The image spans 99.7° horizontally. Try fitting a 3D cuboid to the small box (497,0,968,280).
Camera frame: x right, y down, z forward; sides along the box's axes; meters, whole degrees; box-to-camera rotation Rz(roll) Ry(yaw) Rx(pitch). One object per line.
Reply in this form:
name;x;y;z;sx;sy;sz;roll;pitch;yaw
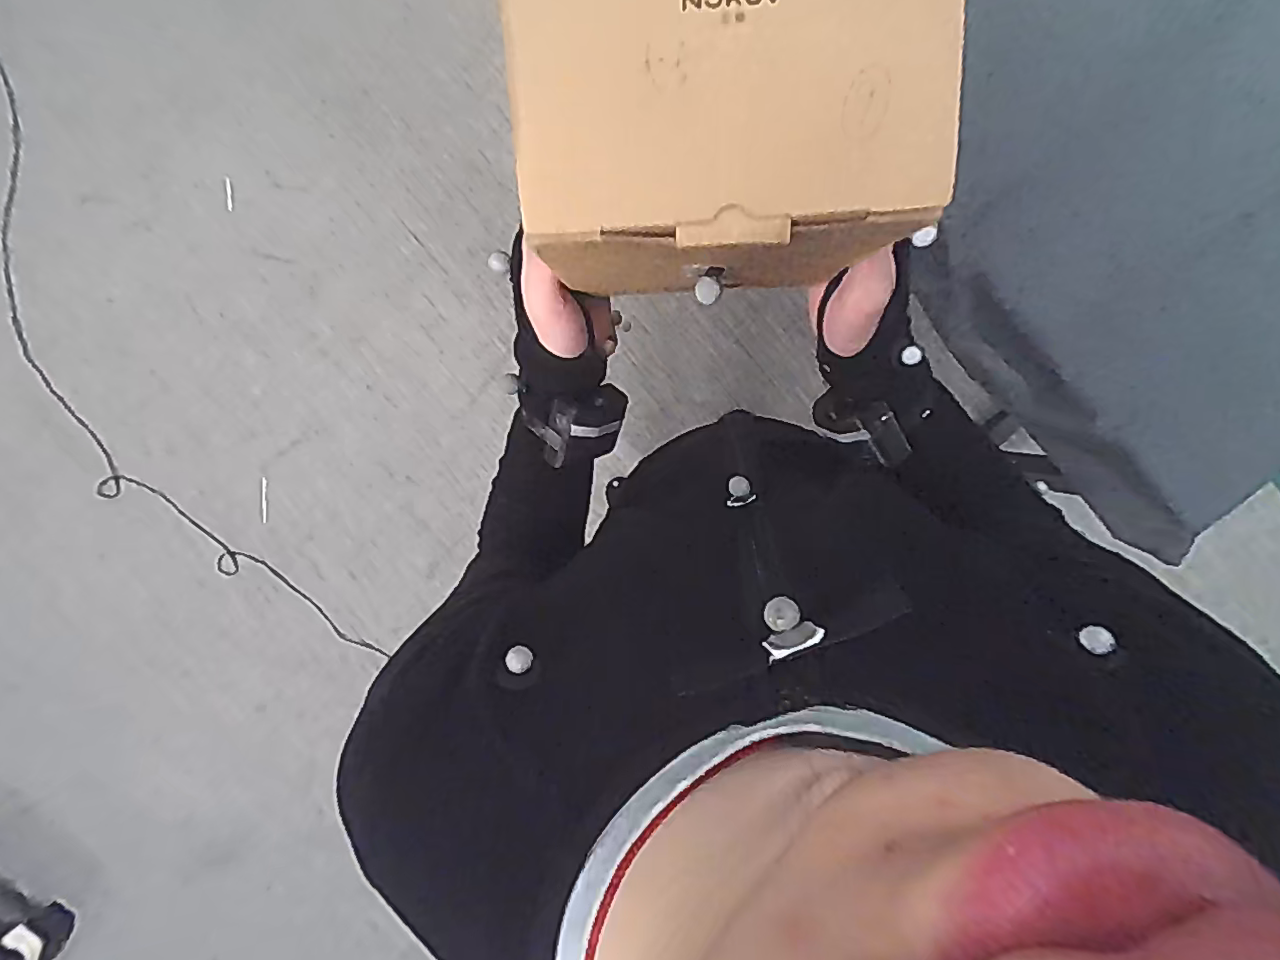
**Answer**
small box;0.031;-0.197;0.262;0.168;0.176;0.179;-2;102;0
